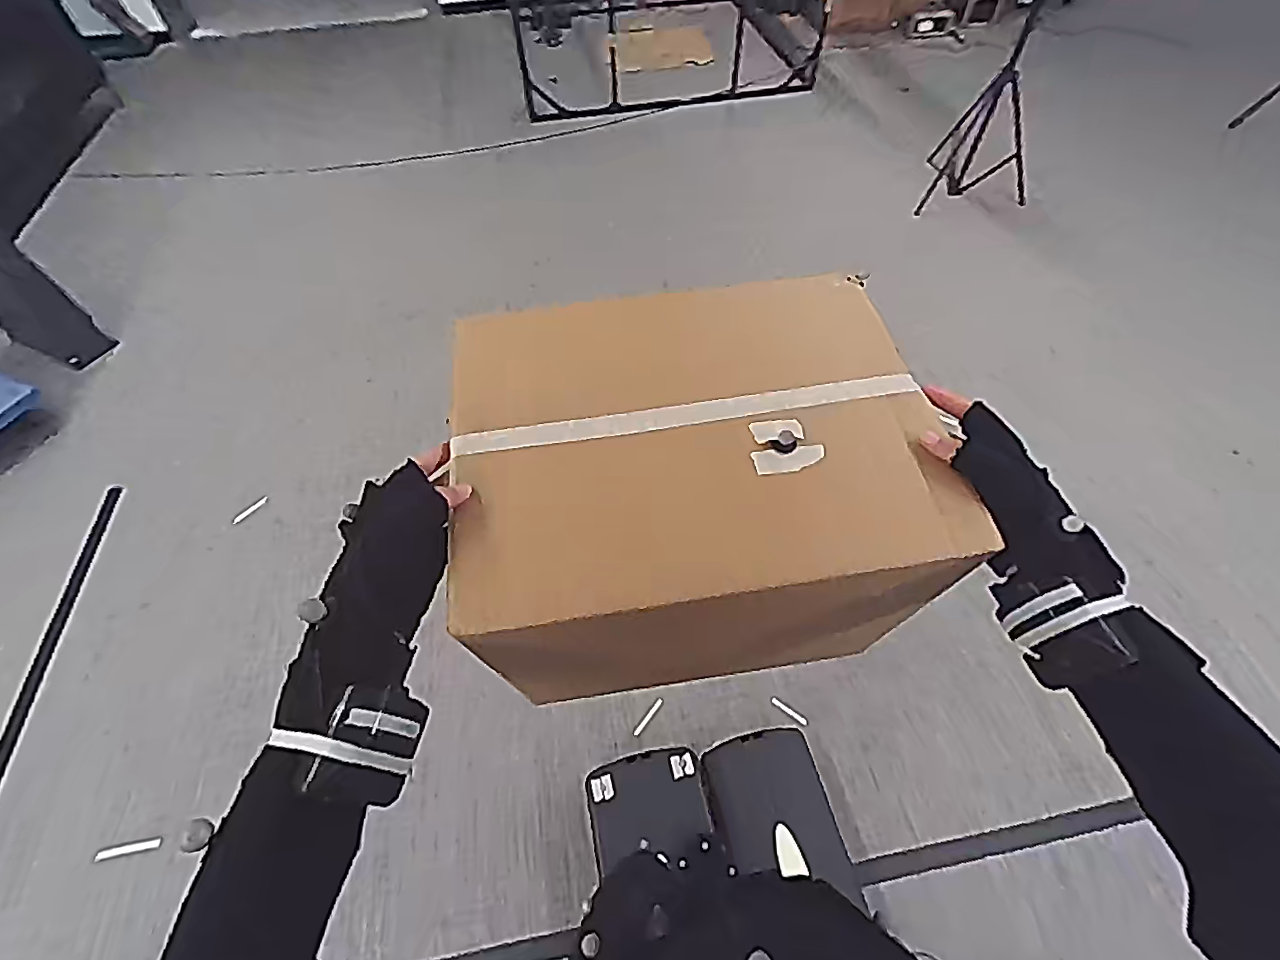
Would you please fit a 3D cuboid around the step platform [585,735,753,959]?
[{"bbox_3d":[0.069,0.957,1.220,0.286,0.204,0.684,-12,55,-7],"label":"step platform"}]

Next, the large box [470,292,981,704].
[{"bbox_3d":[0.049,0.033,0.607,0.408,0.320,0.320,-8,59,-4],"label":"large box"}]
